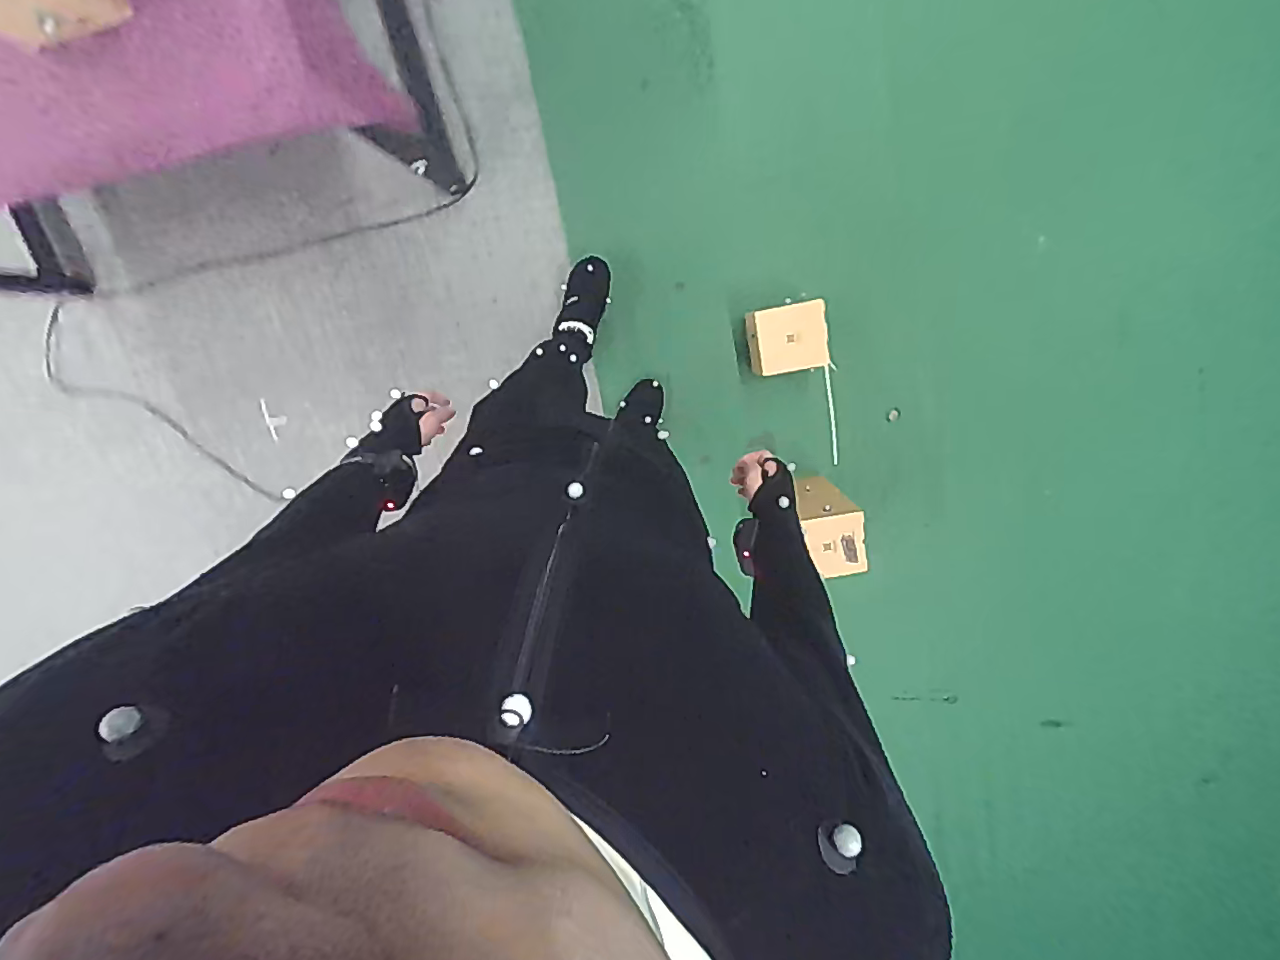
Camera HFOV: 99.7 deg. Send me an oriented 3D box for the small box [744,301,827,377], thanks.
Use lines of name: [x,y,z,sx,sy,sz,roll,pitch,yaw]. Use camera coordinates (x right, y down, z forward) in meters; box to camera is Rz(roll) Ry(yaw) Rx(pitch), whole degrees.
small box: [0.382,-0.374,1.449,0.179,0.176,0.168,-11,104,2]

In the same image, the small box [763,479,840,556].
small box: [0.470,0.104,1.574,0.179,0.176,0.168,-9,105,3]

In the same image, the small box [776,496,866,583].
small box: [0.470,0.149,1.416,0.179,0.176,0.168,-10,105,4]
